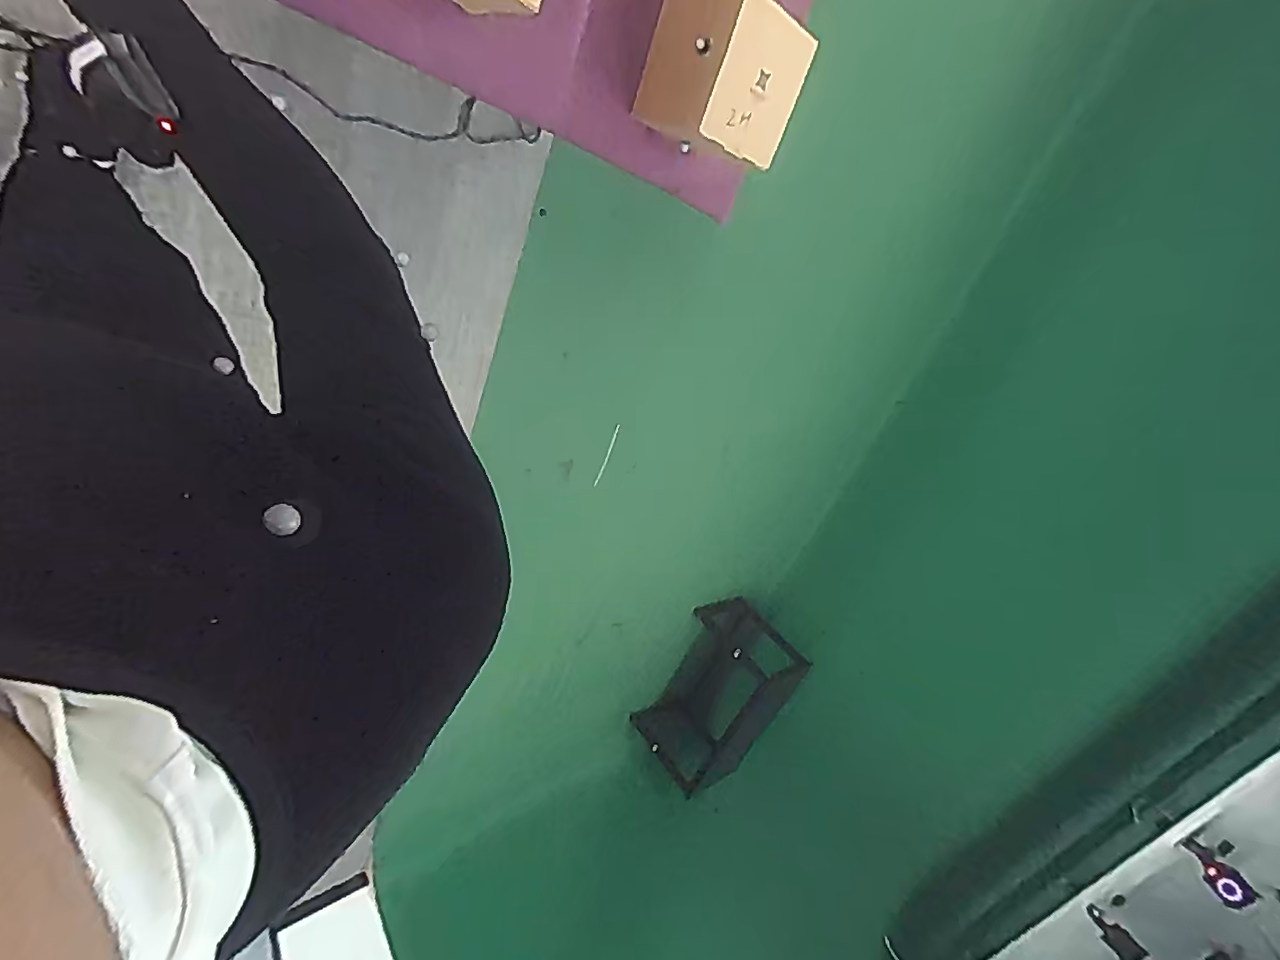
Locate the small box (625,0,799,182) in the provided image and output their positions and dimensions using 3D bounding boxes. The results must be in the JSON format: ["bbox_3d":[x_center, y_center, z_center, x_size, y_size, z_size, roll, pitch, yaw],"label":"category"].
[{"bbox_3d":[0.102,-0.594,0.830,0.168,0.176,0.179,-3,126,-43],"label":"small box"}]
